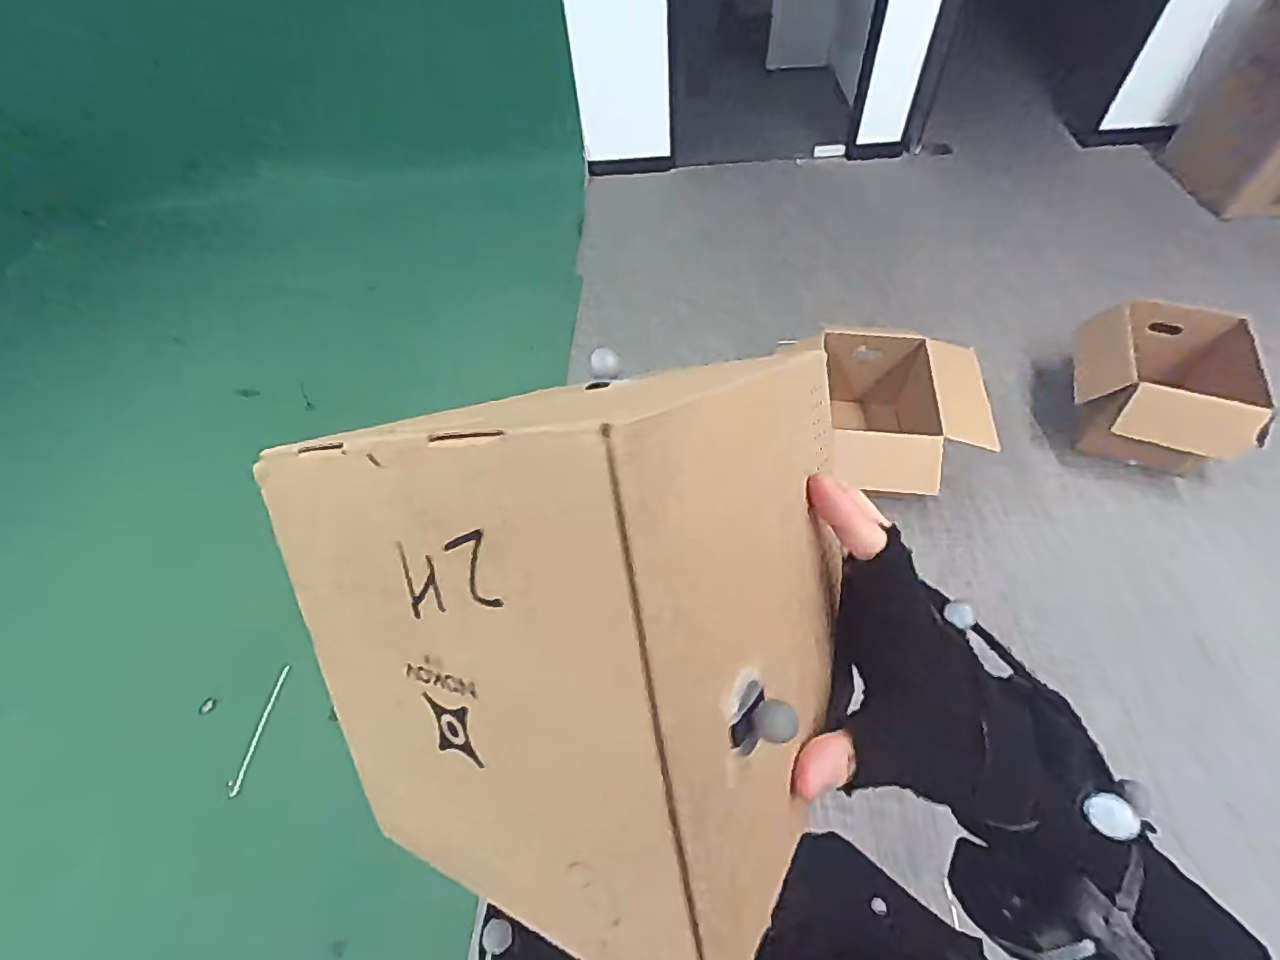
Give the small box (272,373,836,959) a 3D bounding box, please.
[{"bbox_3d":[-0.019,0.056,0.246,0.168,0.179,0.176,-1,15,35],"label":"small box"}]
